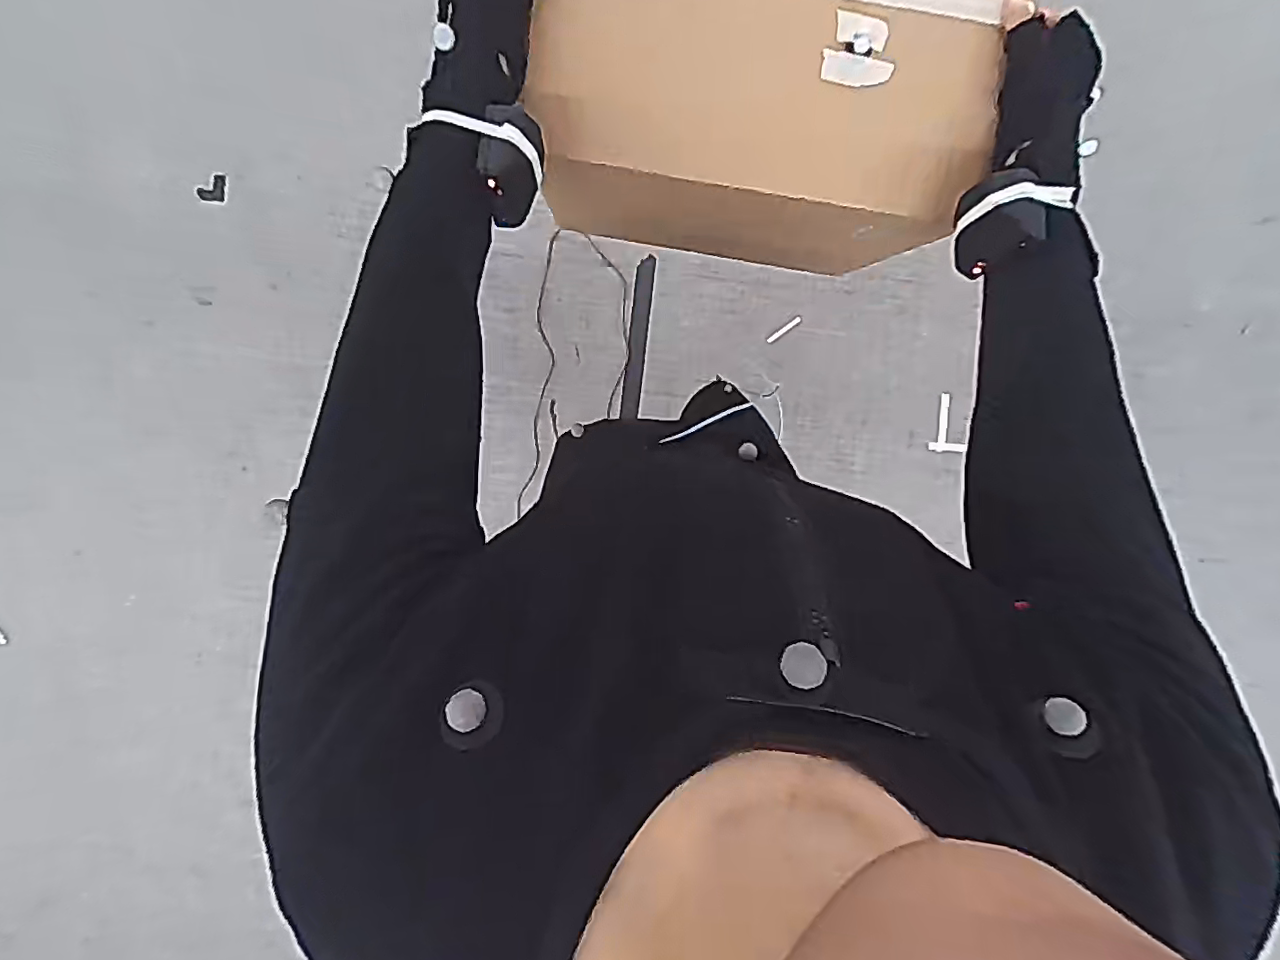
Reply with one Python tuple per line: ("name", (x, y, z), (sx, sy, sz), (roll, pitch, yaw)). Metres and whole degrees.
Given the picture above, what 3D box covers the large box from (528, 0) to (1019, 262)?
("large box", (0.111, -0.446, 0.586), (0.408, 0.320, 0.320), (8, 104, -4))
